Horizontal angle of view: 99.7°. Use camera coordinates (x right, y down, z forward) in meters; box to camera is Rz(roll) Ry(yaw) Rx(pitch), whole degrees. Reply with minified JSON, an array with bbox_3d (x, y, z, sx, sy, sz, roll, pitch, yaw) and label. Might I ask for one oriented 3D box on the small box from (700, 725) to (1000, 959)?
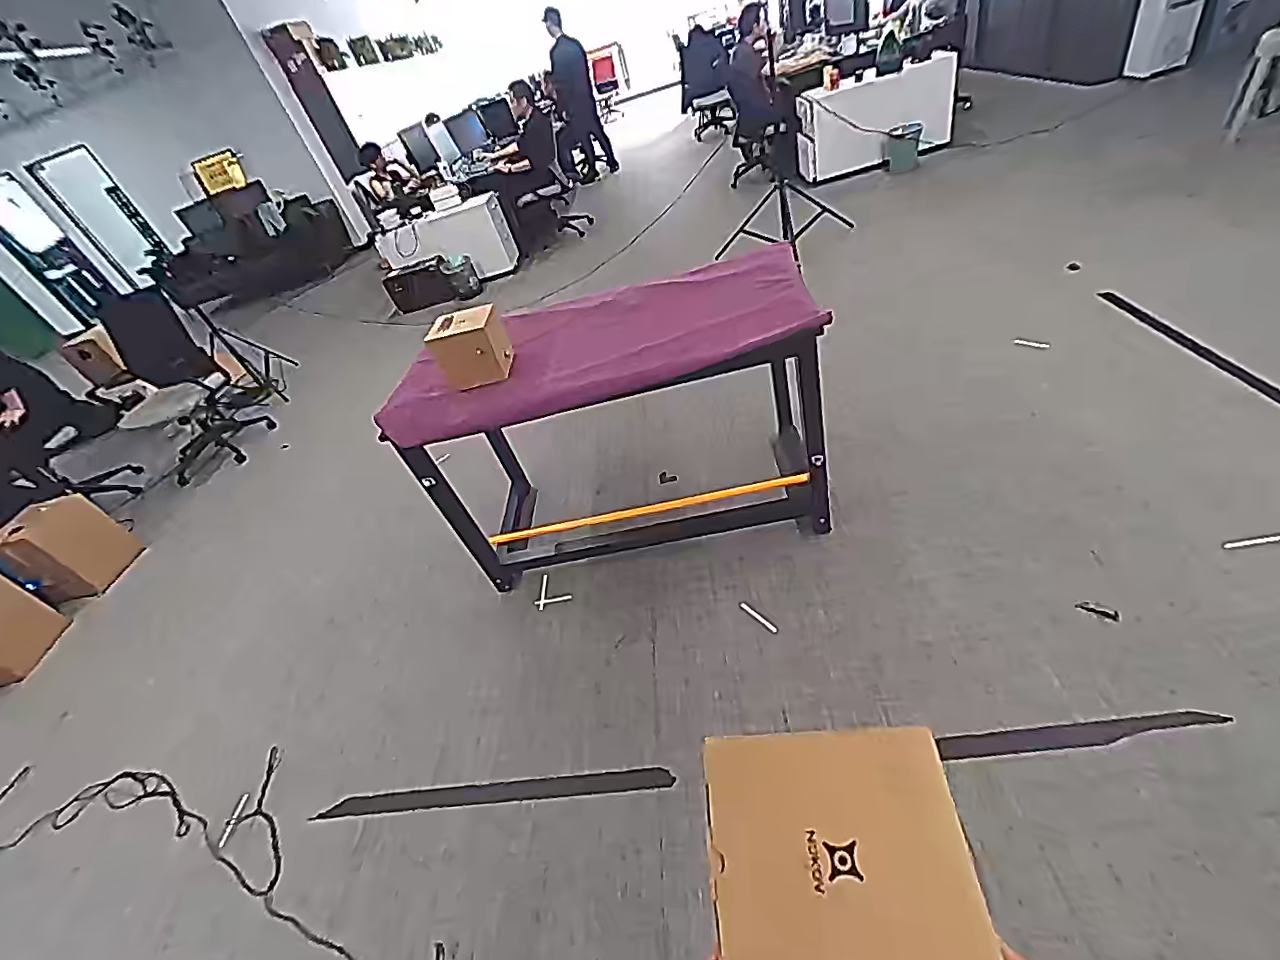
[{"bbox_3d":[0.151,0.306,0.434,0.179,0.176,0.168,-10,51,11],"label":"small box"}]
